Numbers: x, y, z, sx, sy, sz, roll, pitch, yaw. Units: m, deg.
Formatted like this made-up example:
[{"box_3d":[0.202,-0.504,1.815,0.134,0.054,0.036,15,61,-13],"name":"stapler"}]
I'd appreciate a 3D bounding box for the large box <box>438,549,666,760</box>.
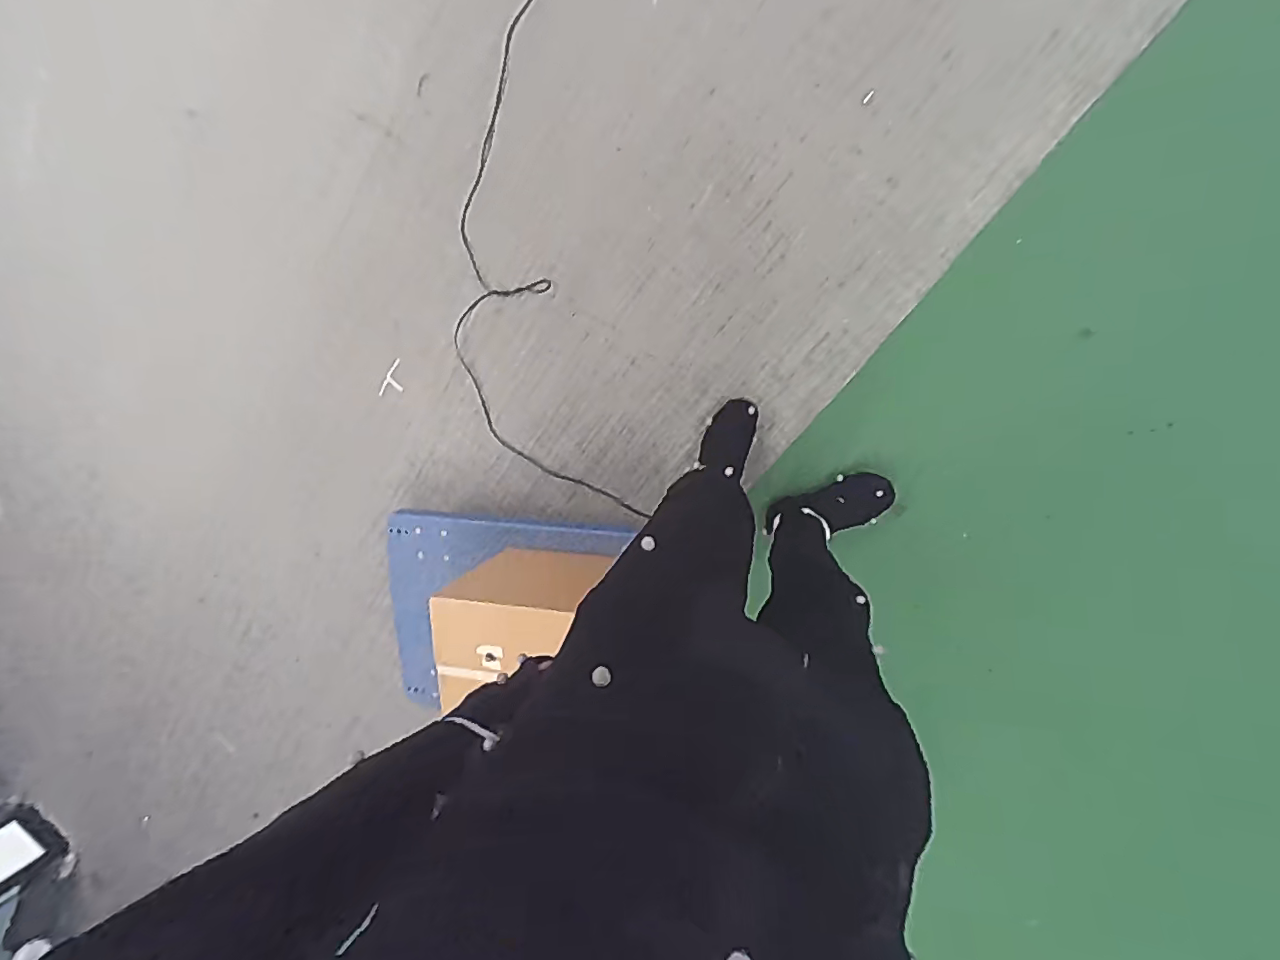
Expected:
[{"box_3d":[-0.172,0.357,1.206,0.408,0.320,0.320,3,102,17],"name":"large box"}]
